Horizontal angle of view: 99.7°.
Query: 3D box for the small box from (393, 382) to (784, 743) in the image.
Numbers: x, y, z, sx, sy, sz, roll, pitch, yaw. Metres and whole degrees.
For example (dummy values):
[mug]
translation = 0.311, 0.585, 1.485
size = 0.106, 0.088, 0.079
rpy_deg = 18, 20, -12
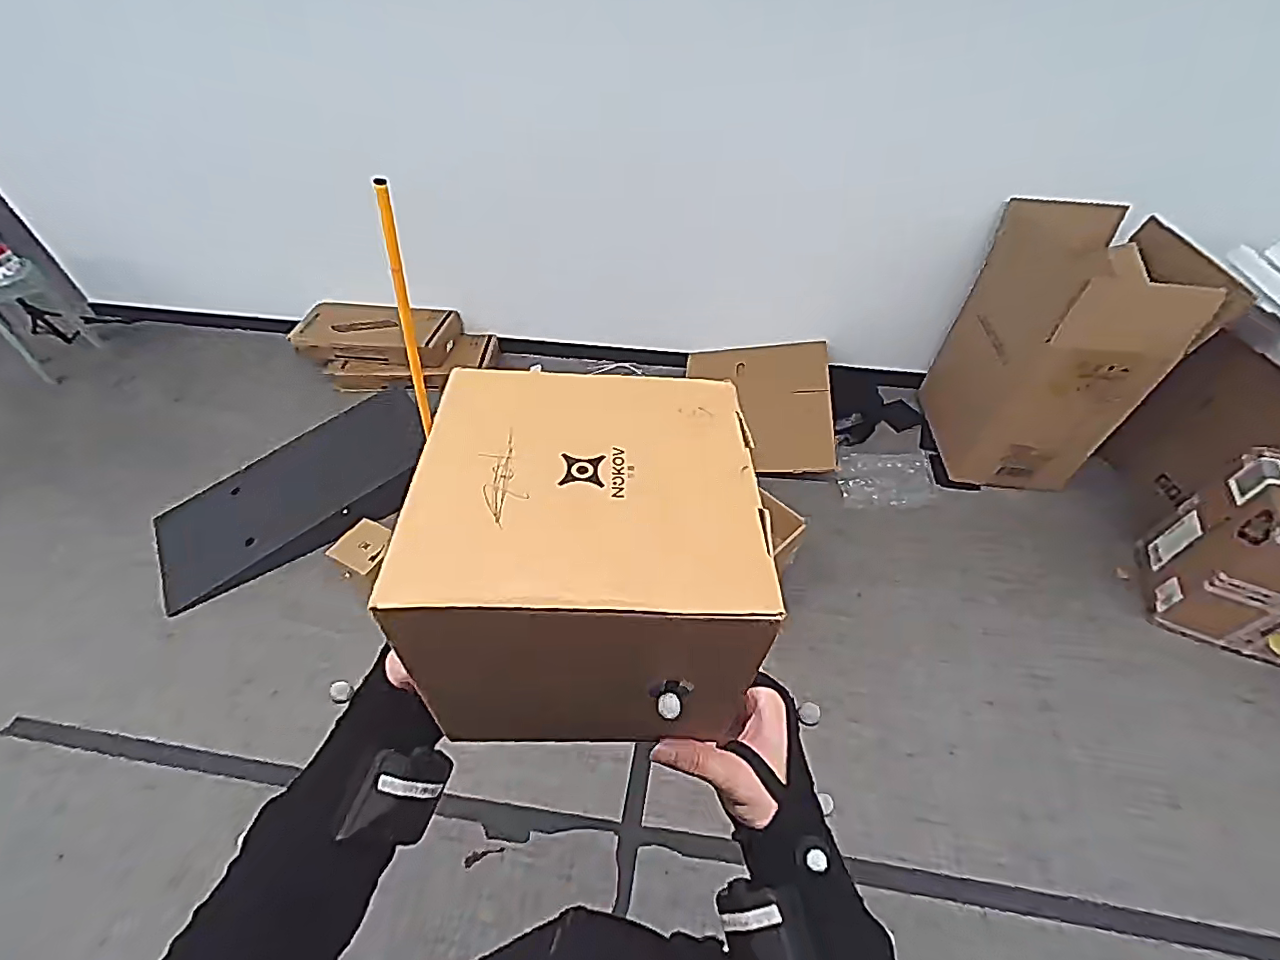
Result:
[small box]
translation = -0.027, 0.057, 0.349
size = 0.179, 0.176, 0.168
rpy_deg = 1, 46, -4
